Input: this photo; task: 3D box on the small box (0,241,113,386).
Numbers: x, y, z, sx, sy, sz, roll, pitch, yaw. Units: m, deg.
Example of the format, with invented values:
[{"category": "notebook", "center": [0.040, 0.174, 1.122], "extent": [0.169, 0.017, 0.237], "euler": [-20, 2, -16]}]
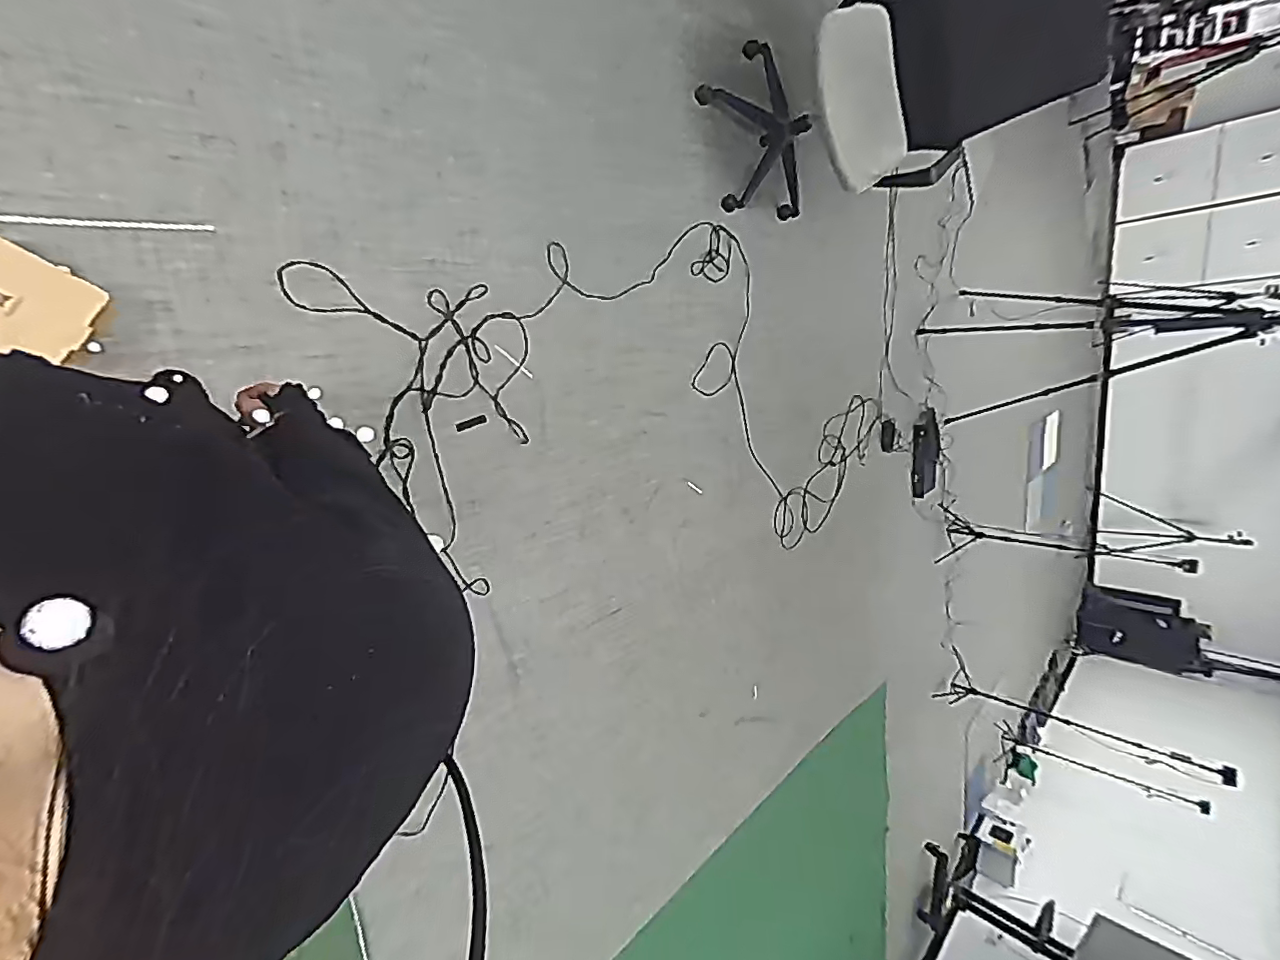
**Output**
[{"category": "small box", "center": [-0.984, -0.262, 0.852], "extent": [0.179, 0.176, 0.168], "euler": [34, 72, -40]}]
